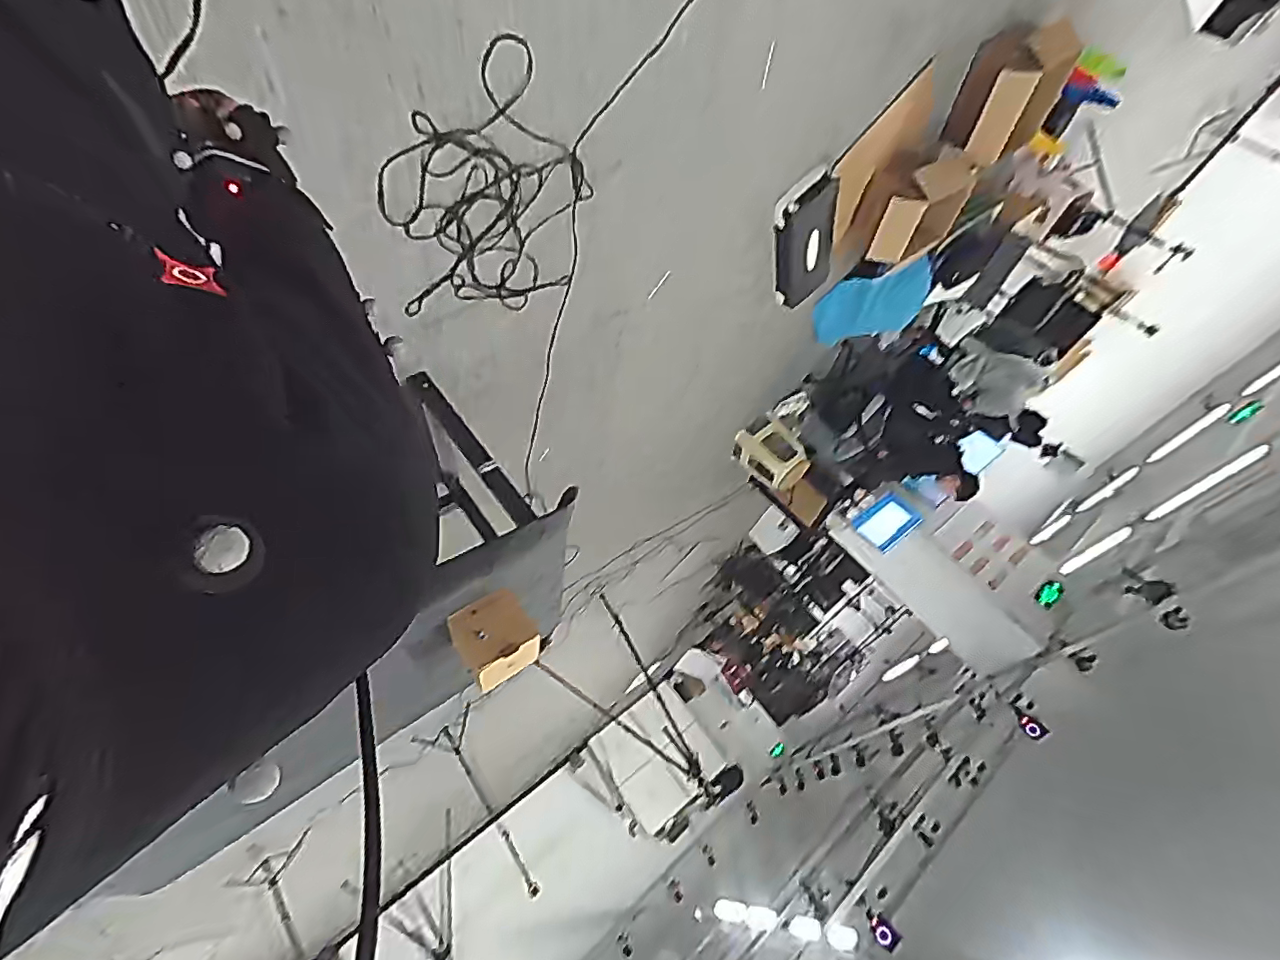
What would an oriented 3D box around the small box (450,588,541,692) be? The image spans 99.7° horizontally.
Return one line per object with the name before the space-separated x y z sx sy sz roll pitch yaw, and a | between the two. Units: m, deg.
small box | -0.371 0.403 1.385 0.168 0.176 0.179 -27 154 -28
